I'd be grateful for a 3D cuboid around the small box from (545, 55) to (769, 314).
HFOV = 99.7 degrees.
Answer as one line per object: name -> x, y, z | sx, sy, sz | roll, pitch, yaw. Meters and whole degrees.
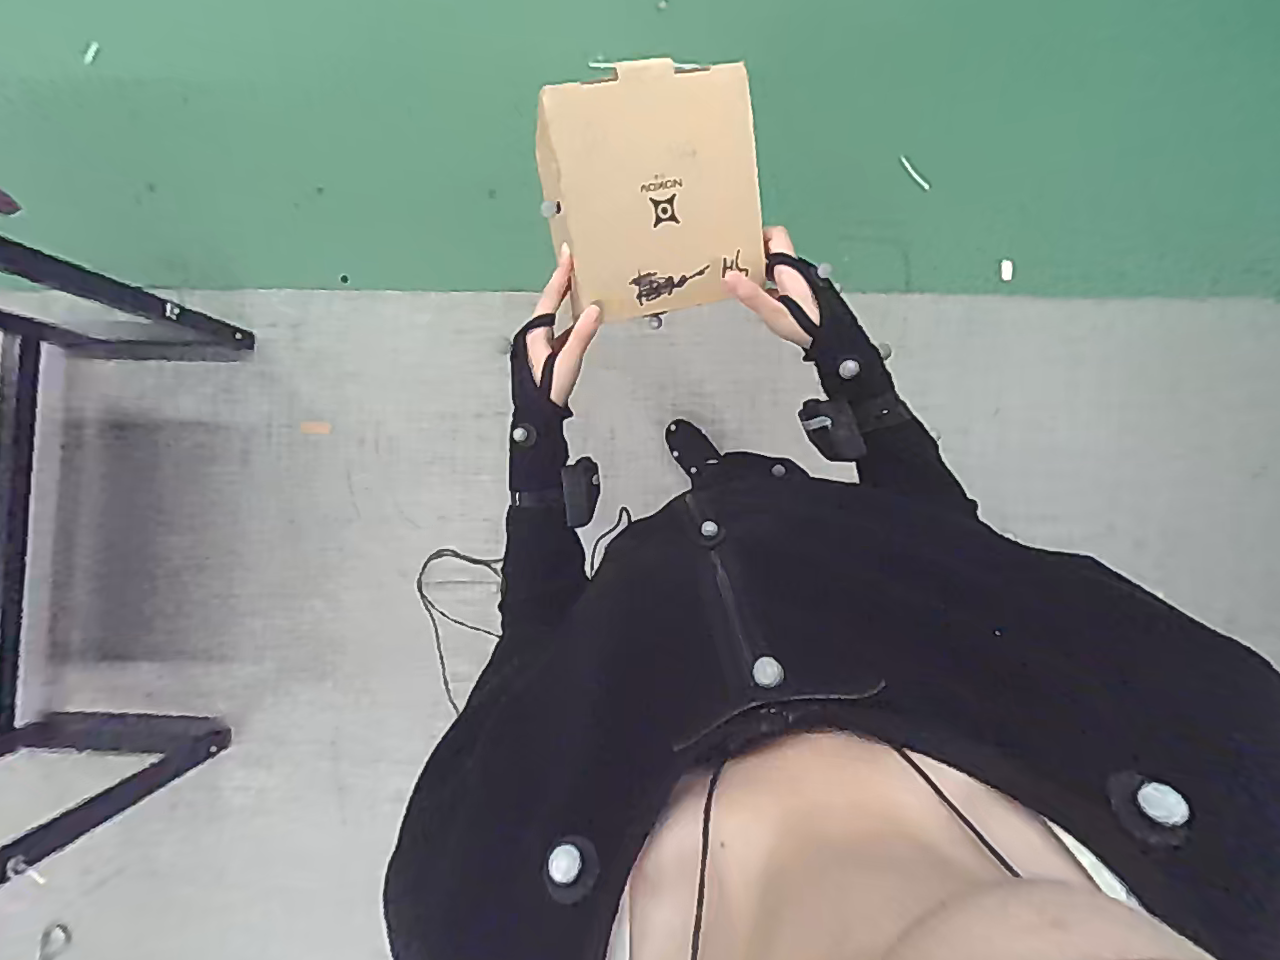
small box -> 0.007, -0.261, 0.518 | 0.168, 0.176, 0.179 | -13, 110, -7
